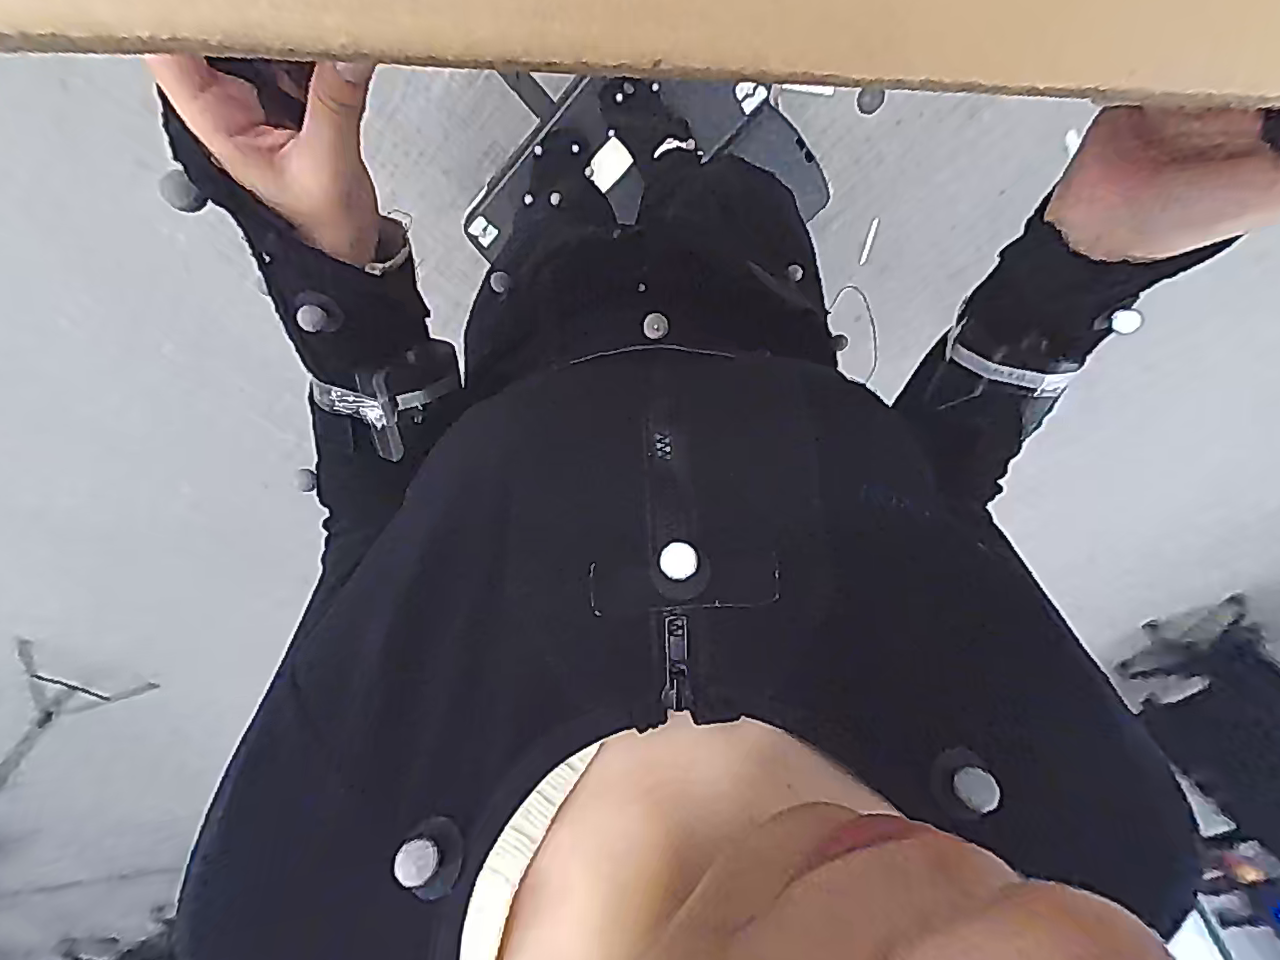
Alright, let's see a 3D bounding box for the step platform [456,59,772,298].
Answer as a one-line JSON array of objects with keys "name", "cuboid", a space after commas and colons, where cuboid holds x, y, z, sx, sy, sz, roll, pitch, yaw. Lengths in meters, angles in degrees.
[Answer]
[{"name": "step platform", "cuboid": [-0.071, -0.708, 1.146, 0.684, 0.204, 0.286, -34, 125, 20]}]
